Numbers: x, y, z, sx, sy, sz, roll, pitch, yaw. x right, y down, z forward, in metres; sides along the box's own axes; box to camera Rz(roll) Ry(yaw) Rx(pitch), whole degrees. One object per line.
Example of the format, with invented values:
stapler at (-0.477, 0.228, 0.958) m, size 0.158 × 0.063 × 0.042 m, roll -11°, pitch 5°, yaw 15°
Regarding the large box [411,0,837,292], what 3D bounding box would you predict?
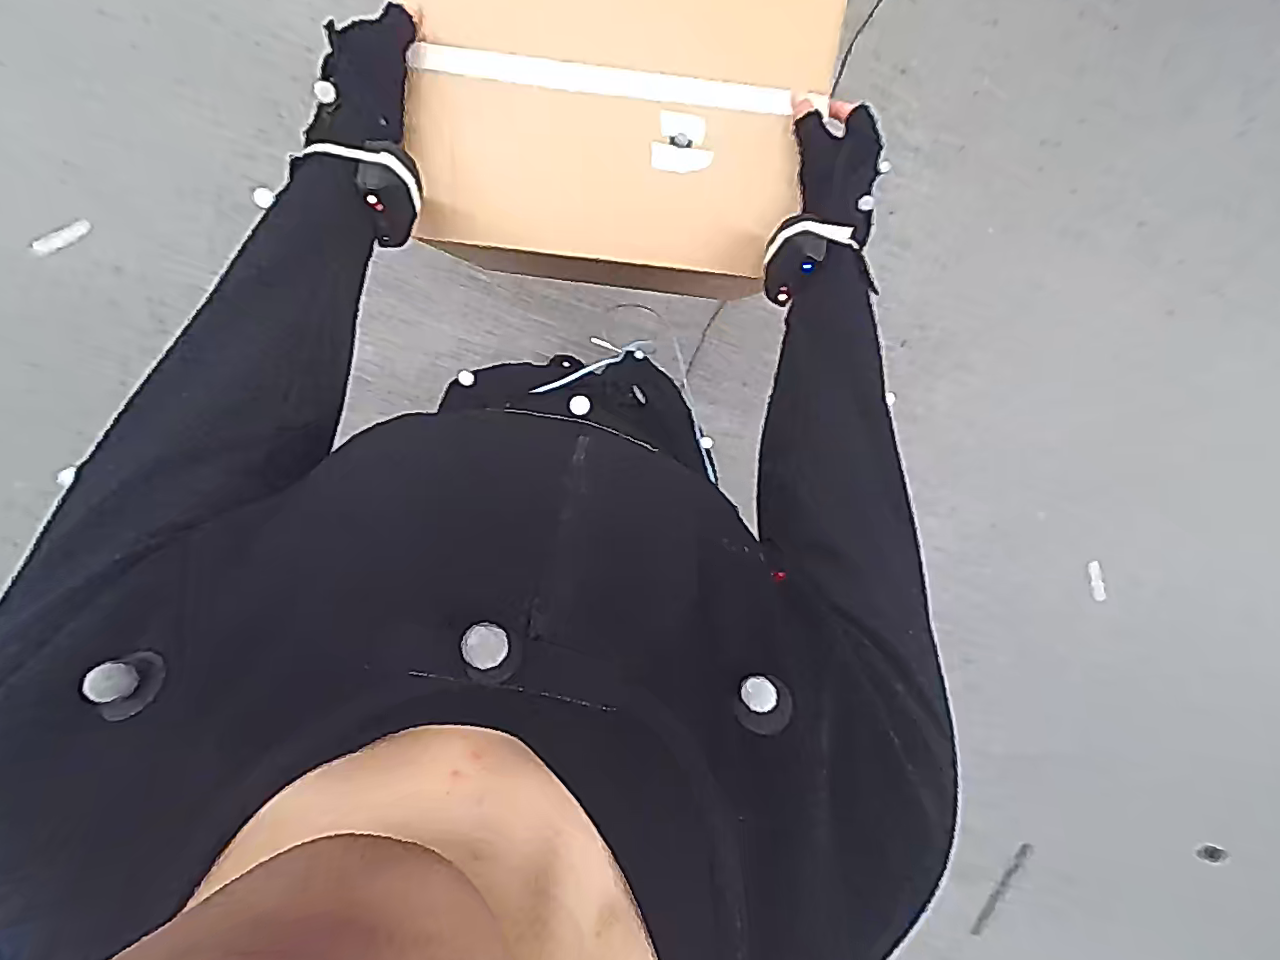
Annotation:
large box at (-0.026, -0.420, 0.665) m, size 0.408 × 0.320 × 0.320 m, roll 5°, pitch 106°, yaw -3°
